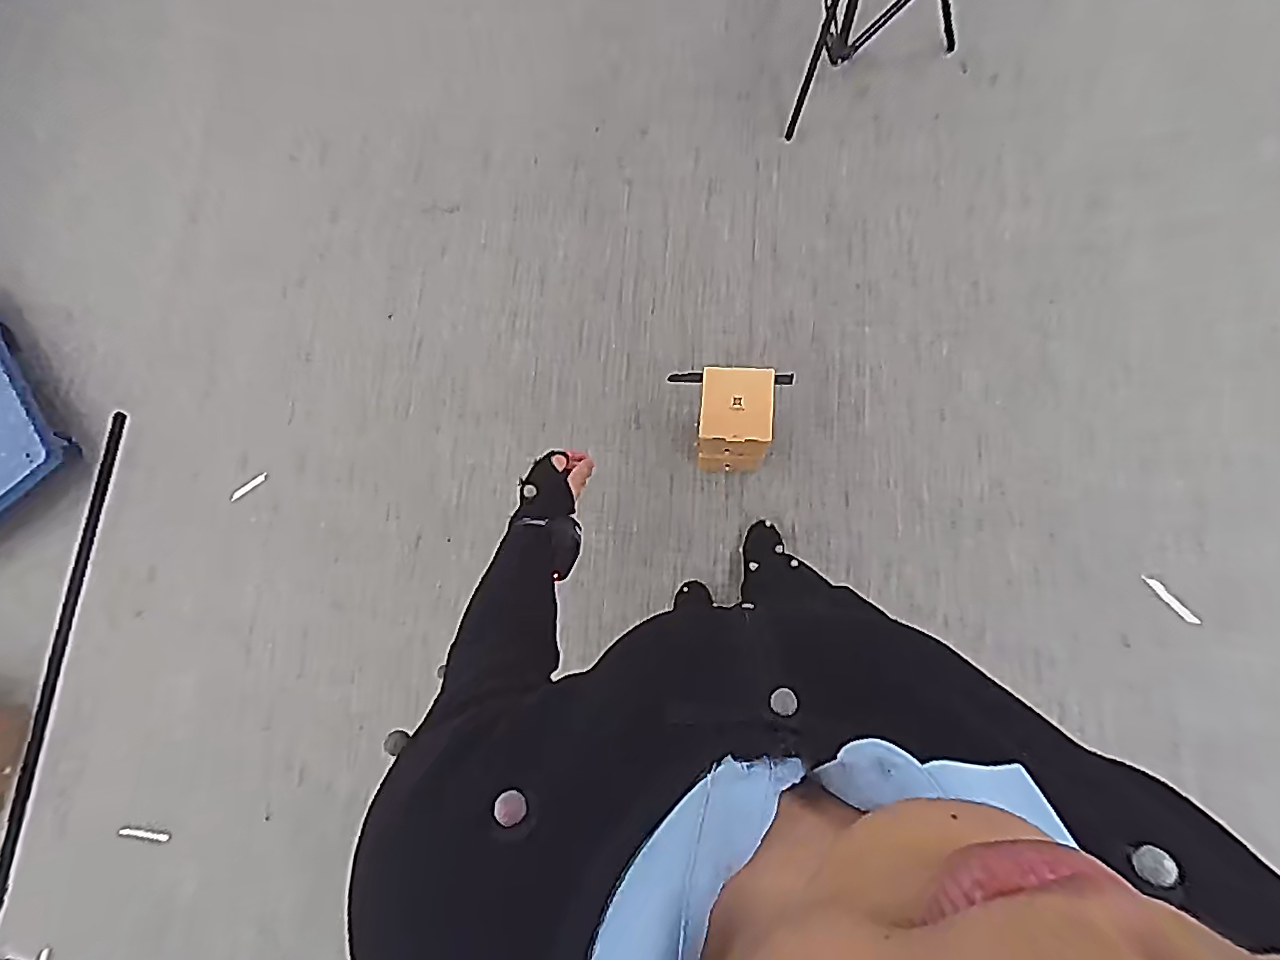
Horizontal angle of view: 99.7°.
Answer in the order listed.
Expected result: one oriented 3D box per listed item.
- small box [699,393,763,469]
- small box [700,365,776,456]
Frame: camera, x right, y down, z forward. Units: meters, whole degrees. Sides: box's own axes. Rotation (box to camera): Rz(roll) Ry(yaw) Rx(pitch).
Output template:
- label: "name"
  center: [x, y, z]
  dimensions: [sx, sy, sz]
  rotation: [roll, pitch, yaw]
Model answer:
- label: "small box"
  center: [0.246, -0.128, 1.476]
  dimensions: [0.168, 0.176, 0.179]
  rotation: [1, 80, 6]
- label: "small box"
  center: [0.233, -0.166, 1.318]
  dimensions: [0.168, 0.176, 0.179]
  rotation: [3, 81, 7]
